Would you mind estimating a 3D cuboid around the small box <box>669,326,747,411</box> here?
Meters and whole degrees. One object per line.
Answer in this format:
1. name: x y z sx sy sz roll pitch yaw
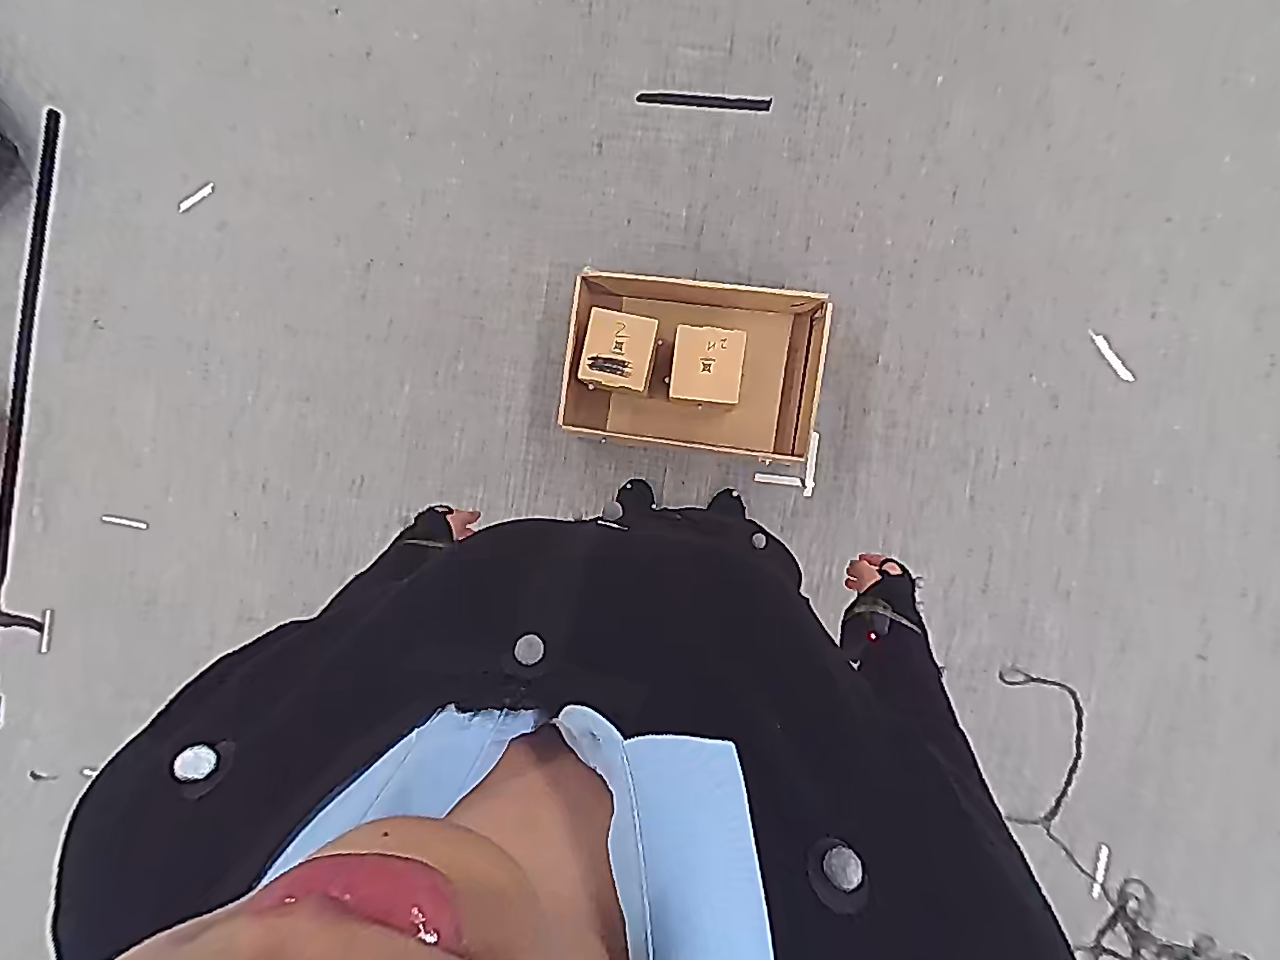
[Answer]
1. small box: 0.168 -0.271 1.353 0.168 0.176 0.179 7 92 5
